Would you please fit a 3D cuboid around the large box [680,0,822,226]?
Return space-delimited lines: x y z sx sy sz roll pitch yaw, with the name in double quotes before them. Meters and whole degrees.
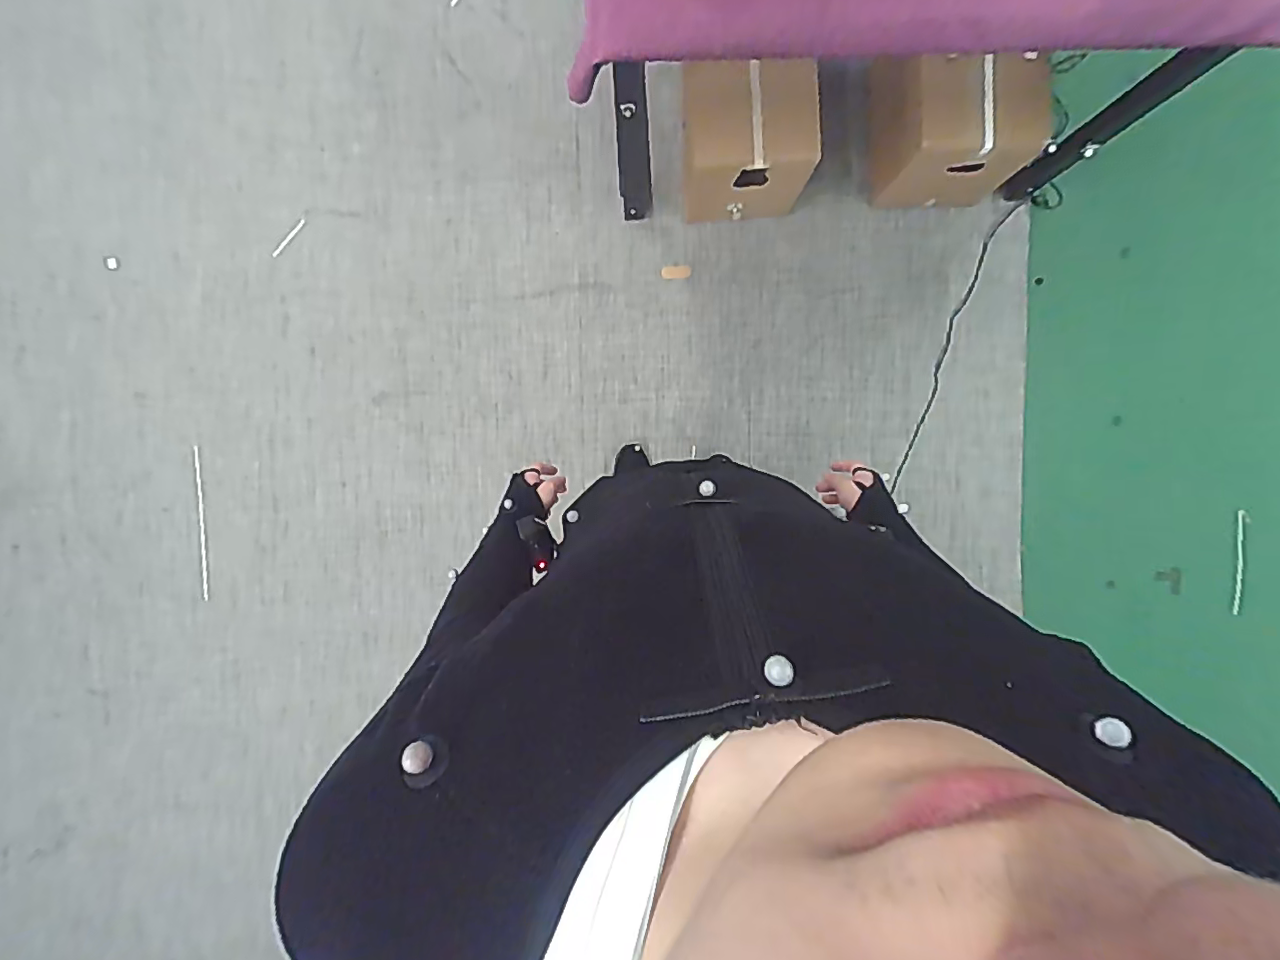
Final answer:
"large box" 0.278 -0.959 1.454 0.320 0.320 0.408 -4 91 0
